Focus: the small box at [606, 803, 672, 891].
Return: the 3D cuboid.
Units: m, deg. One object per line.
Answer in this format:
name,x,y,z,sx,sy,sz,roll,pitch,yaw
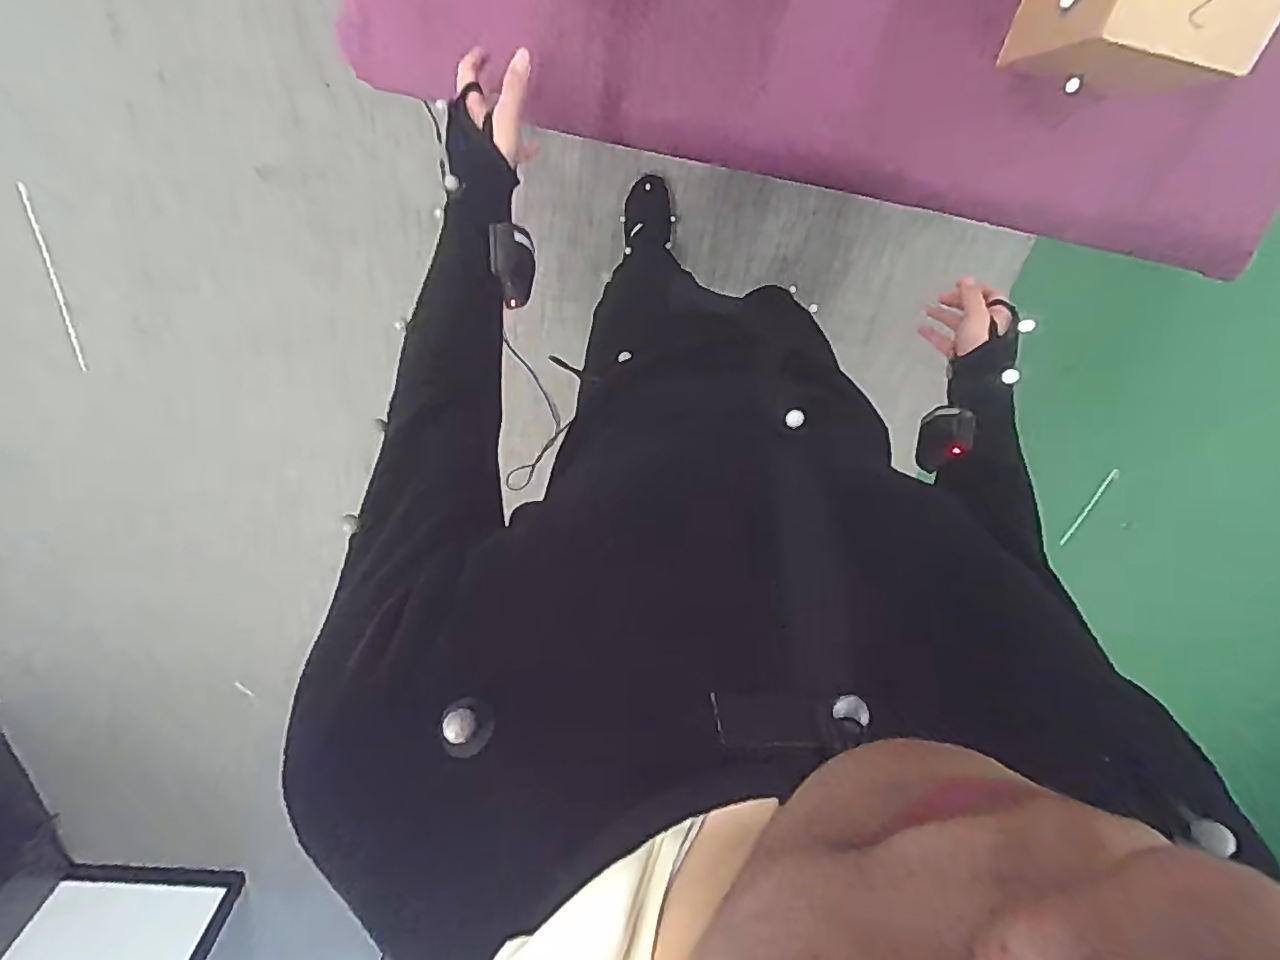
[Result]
small box,-0.003,1.190,1.757,0.168,0.176,0.179,17,118,-10
